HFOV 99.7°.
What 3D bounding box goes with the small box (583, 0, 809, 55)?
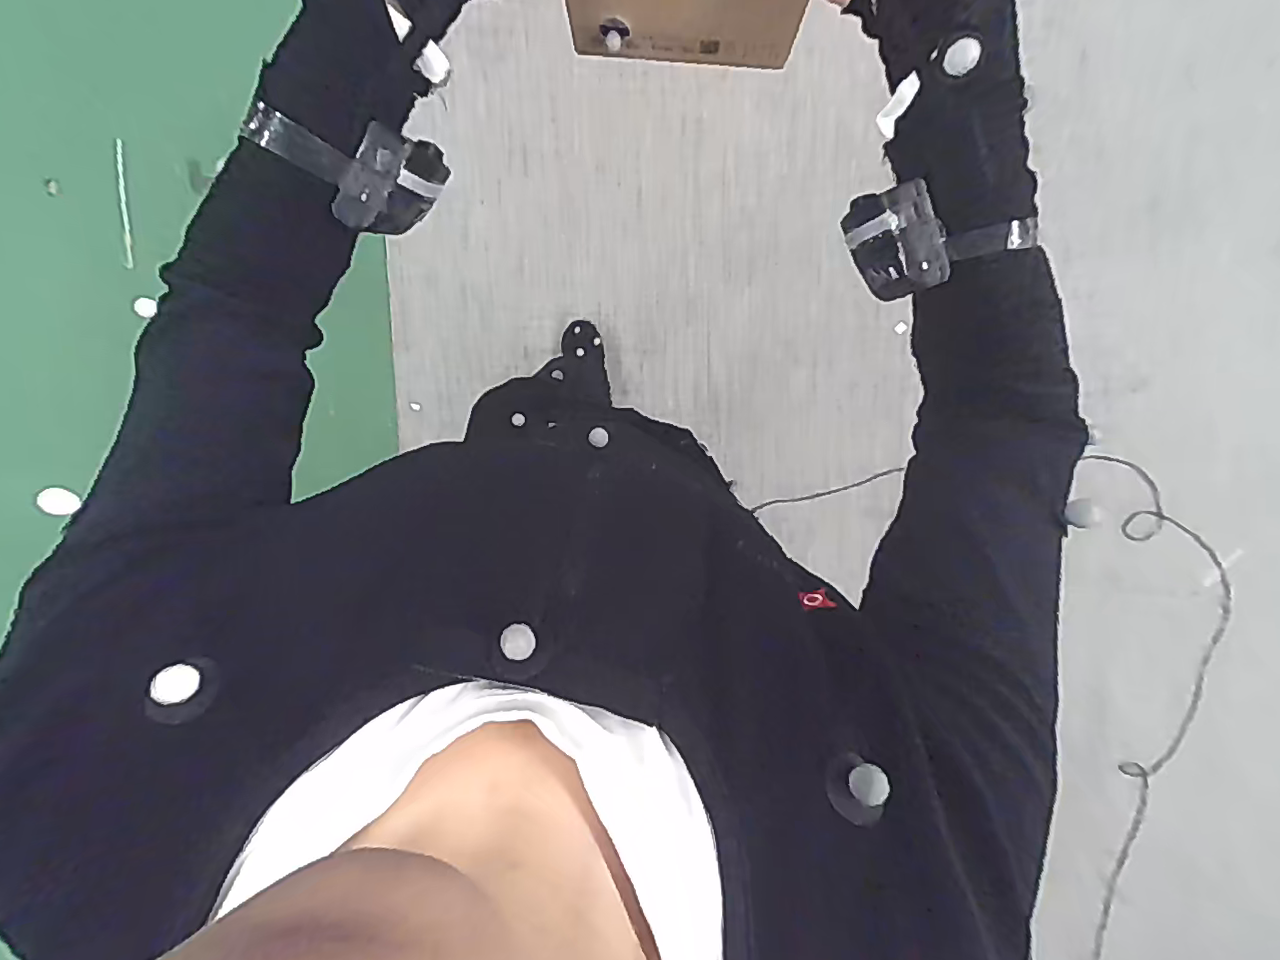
[{"bbox_3d":[0.043,-0.412,0.336,0.168,0.176,0.179,5,93,0],"label":"small box"}]
